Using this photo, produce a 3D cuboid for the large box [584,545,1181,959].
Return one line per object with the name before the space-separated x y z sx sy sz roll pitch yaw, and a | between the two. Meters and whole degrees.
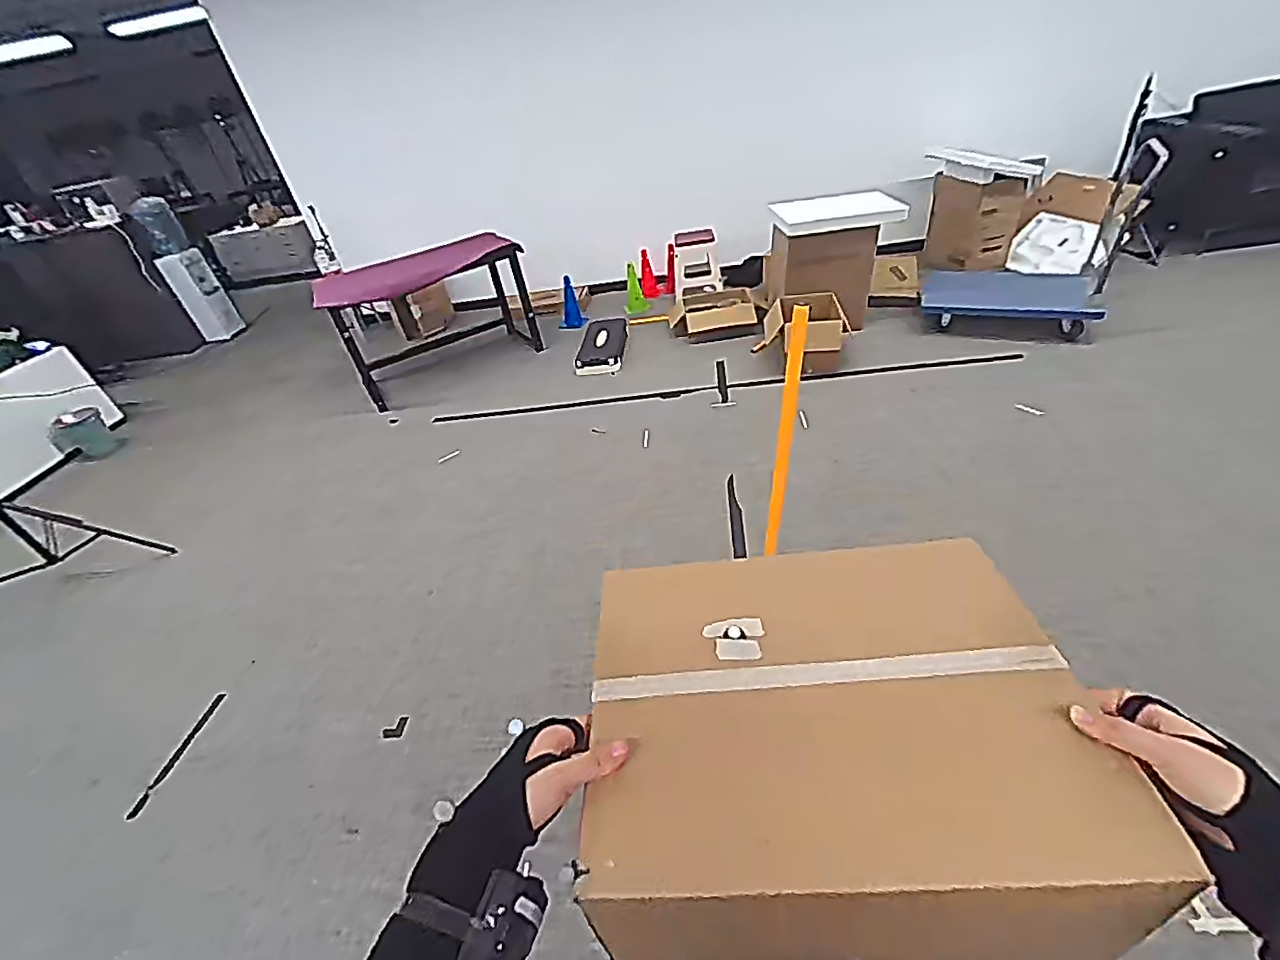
large box | 0.182 0.304 0.569 0.408 0.320 0.320 -7 34 6
